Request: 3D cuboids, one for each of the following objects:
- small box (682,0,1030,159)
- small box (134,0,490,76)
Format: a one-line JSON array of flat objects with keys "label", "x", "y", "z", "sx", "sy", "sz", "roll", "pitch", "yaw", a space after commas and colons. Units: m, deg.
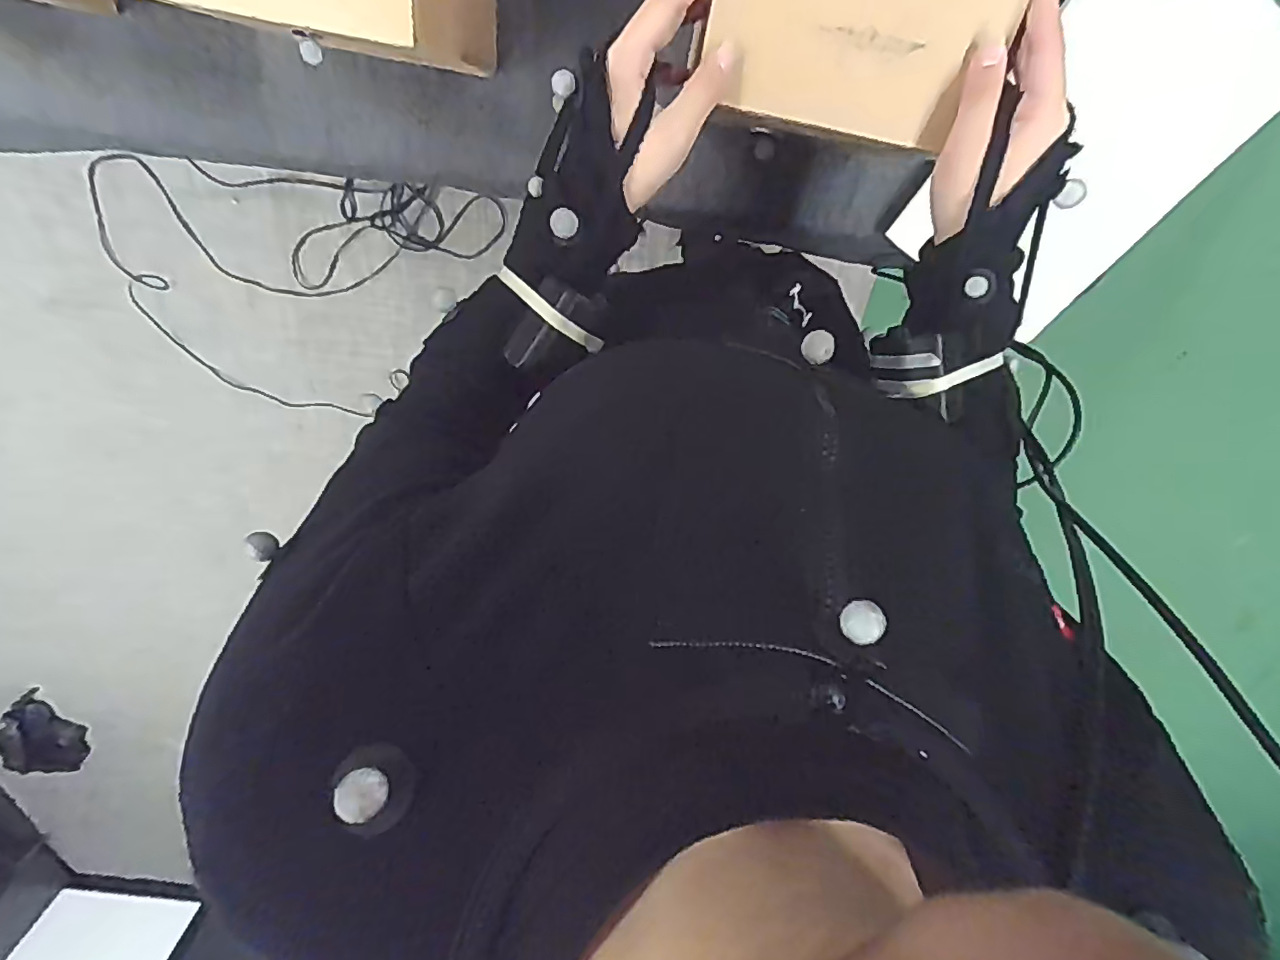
[{"label": "small box", "x": 0.123, "y": -0.313, "z": 0.331, "sx": 0.168, "sy": 0.176, "sz": 0.179, "roll": 9, "pitch": 121, "yaw": -4}, {"label": "small box", "x": -0.195, "y": -0.373, "z": 0.332, "sx": 0.168, "sy": 0.176, "sz": 0.179, "roll": 9, "pitch": 121, "yaw": -2}]
